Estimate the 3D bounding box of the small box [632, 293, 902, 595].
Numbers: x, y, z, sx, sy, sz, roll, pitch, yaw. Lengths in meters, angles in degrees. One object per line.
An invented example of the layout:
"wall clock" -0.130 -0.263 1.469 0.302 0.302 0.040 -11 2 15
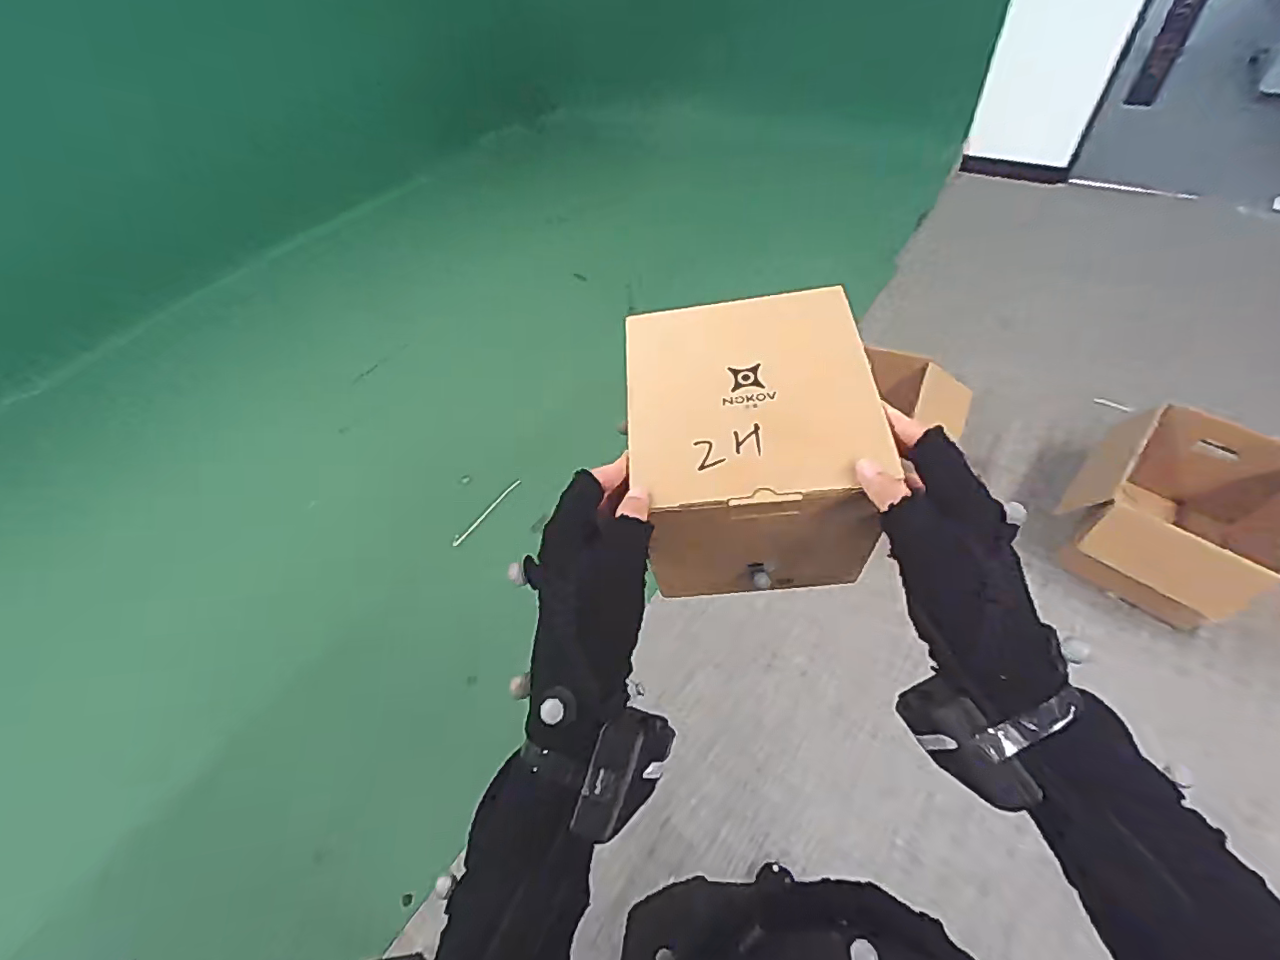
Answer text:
"small box" 0.087 -0.020 0.441 0.168 0.176 0.179 -6 59 8
